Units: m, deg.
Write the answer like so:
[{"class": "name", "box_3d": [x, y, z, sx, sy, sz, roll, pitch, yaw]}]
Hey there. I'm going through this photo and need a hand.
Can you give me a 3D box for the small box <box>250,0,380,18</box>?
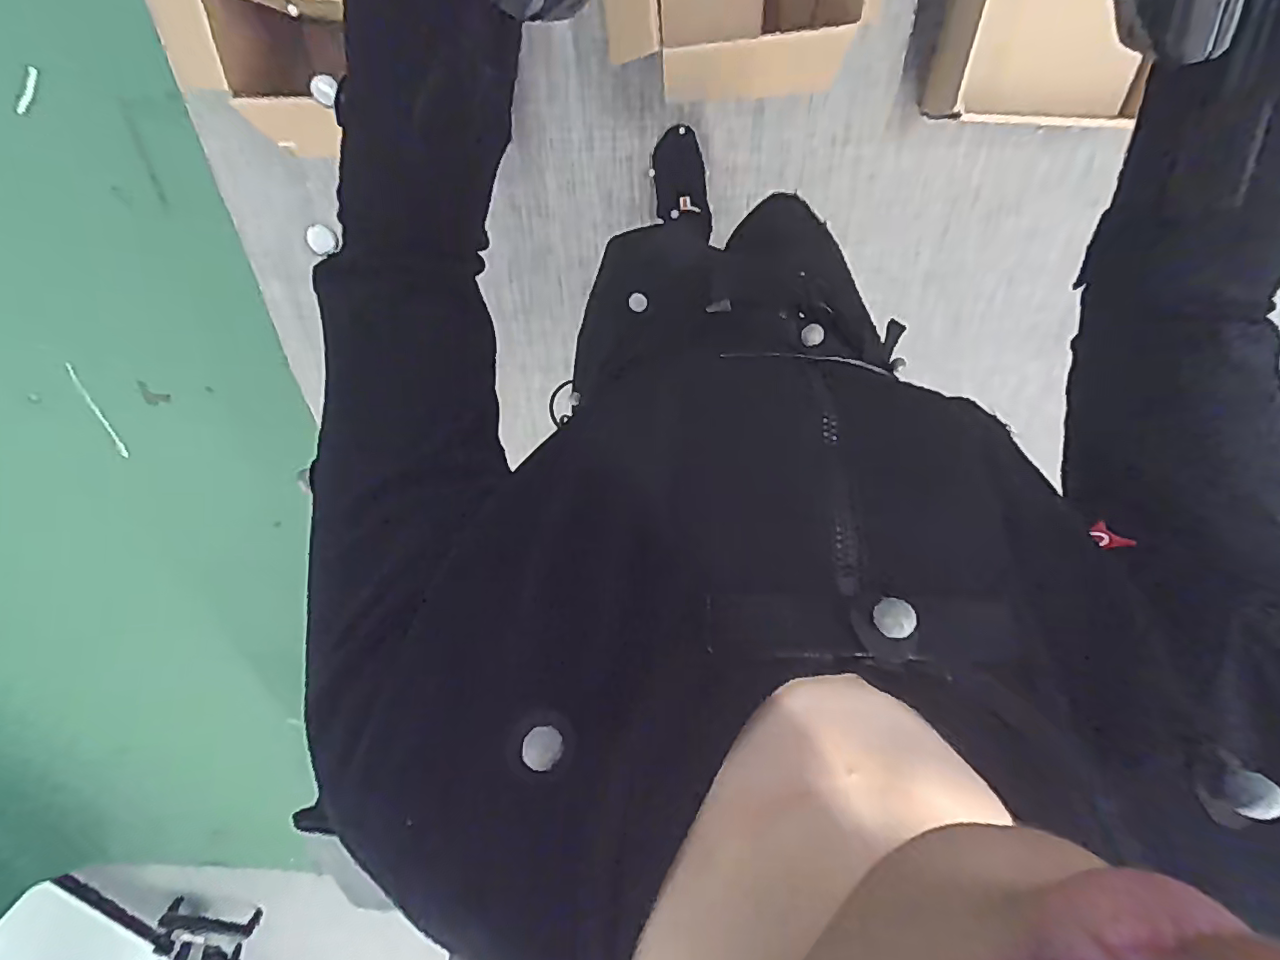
[{"class": "small box", "box_3d": [-0.516, -0.820, 0.816, 0.179, 0.176, 0.168, 4, 123, -1]}]
